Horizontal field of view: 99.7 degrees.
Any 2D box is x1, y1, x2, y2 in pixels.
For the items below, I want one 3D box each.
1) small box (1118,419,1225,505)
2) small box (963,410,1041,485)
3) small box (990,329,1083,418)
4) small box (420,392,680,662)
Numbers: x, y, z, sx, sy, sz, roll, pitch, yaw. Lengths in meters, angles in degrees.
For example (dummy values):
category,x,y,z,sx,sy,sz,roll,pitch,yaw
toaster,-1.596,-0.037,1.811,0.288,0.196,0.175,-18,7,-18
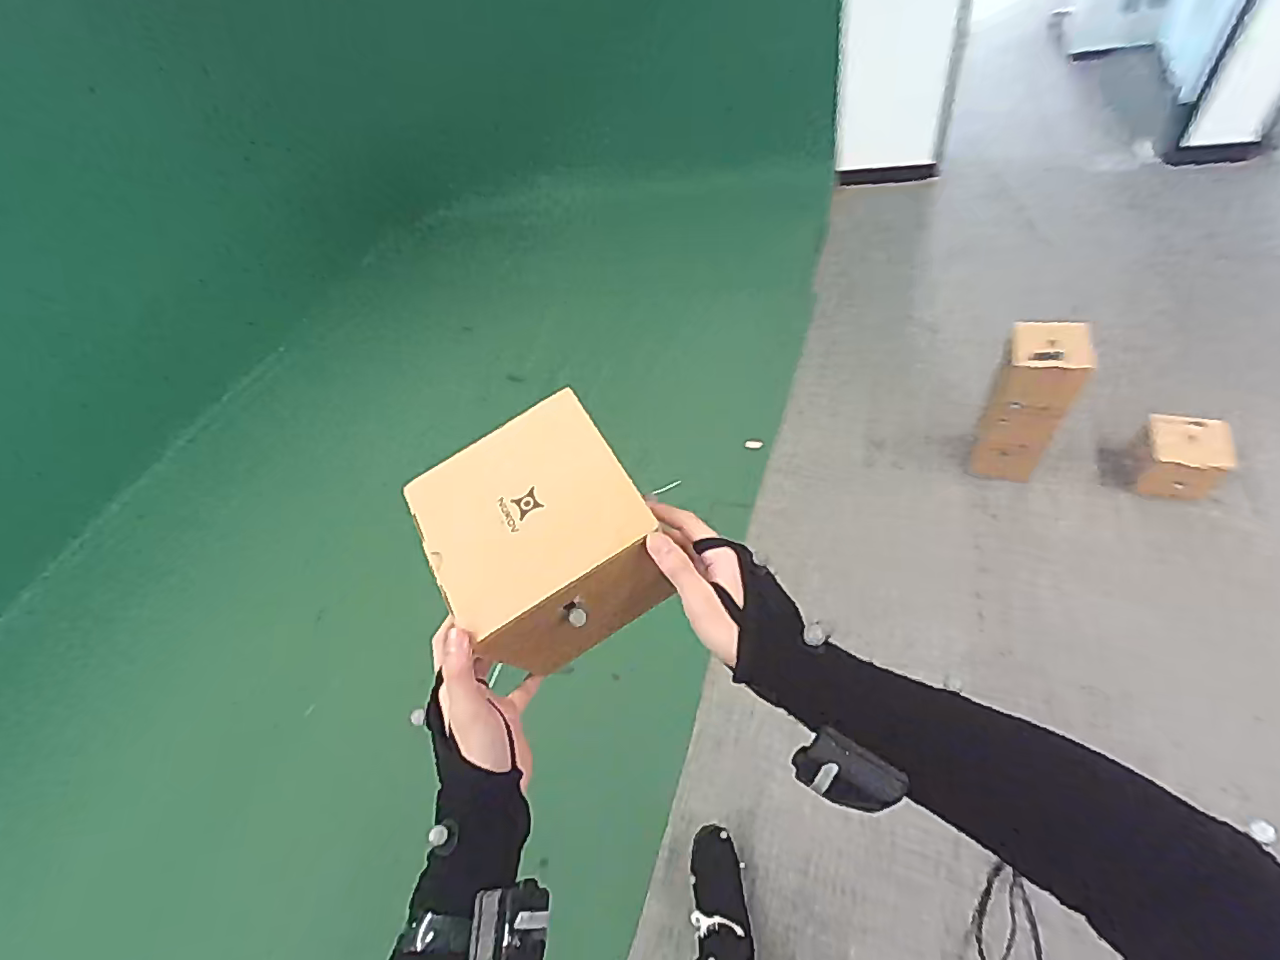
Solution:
category,x,y,z,sx,sy,sz,roll,pitch,yaw
small box,1.529,-0.050,1.568,0.168,0.176,0.179,10,58,23
small box,1.145,-0.101,1.722,0.179,0.176,0.168,9,57,22
small box,1.064,-0.287,1.464,0.168,0.176,0.179,7,55,22
small box,-0.074,0.054,0.529,0.179,0.176,0.168,-32,60,-3
